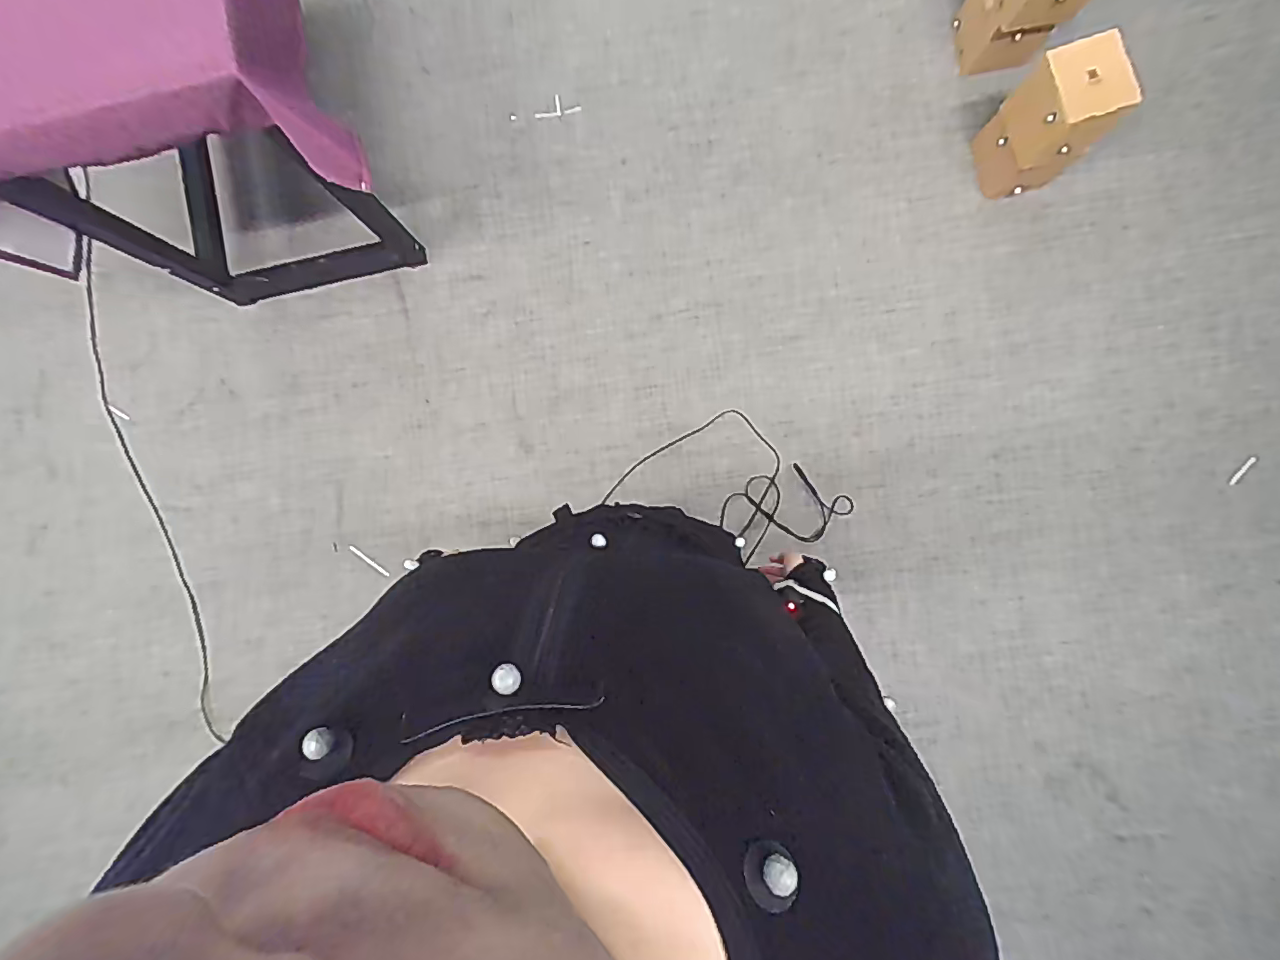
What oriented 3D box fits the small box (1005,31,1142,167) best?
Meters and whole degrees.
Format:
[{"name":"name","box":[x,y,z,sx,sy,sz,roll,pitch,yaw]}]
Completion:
[{"name":"small box","box":[1.001,-0.883,1.268,0.168,0.176,0.179,-16,88,2]}]

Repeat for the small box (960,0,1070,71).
[{"name":"small box","box":[0.985,-1.235,1.440,0.179,0.176,0.168,-9,88,2]}]

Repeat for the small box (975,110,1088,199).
[{"name":"small box","box":[1.024,-0.884,1.429,0.168,0.176,0.179,-11,88,3]}]
